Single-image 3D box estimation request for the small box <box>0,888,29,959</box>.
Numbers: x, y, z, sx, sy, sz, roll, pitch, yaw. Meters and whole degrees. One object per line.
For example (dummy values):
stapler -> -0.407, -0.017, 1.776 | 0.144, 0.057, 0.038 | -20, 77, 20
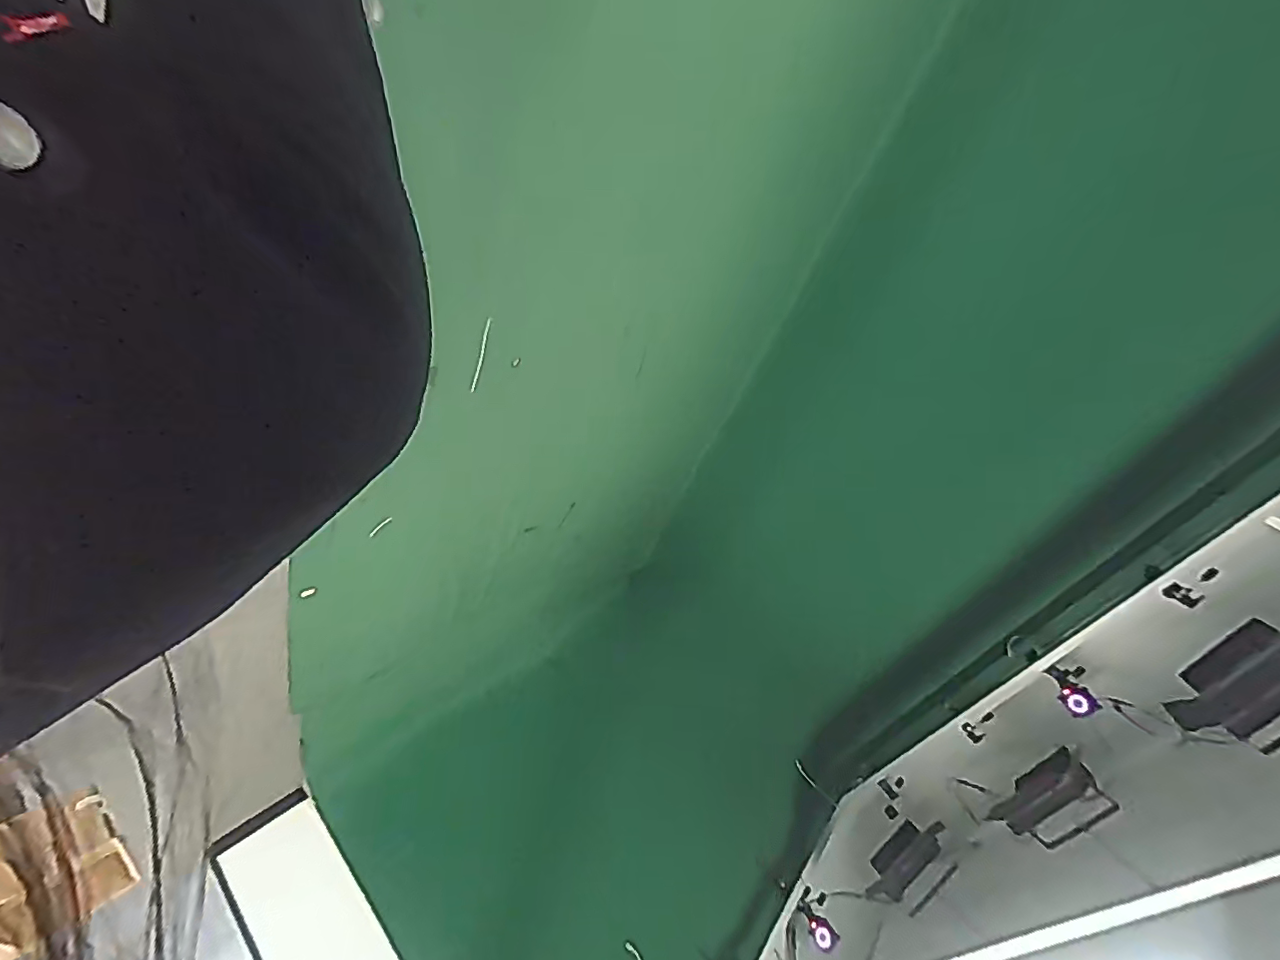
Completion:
small box -> -1.651, 1.120, 1.307 | 0.168, 0.176, 0.179 | -30, 154, -42
